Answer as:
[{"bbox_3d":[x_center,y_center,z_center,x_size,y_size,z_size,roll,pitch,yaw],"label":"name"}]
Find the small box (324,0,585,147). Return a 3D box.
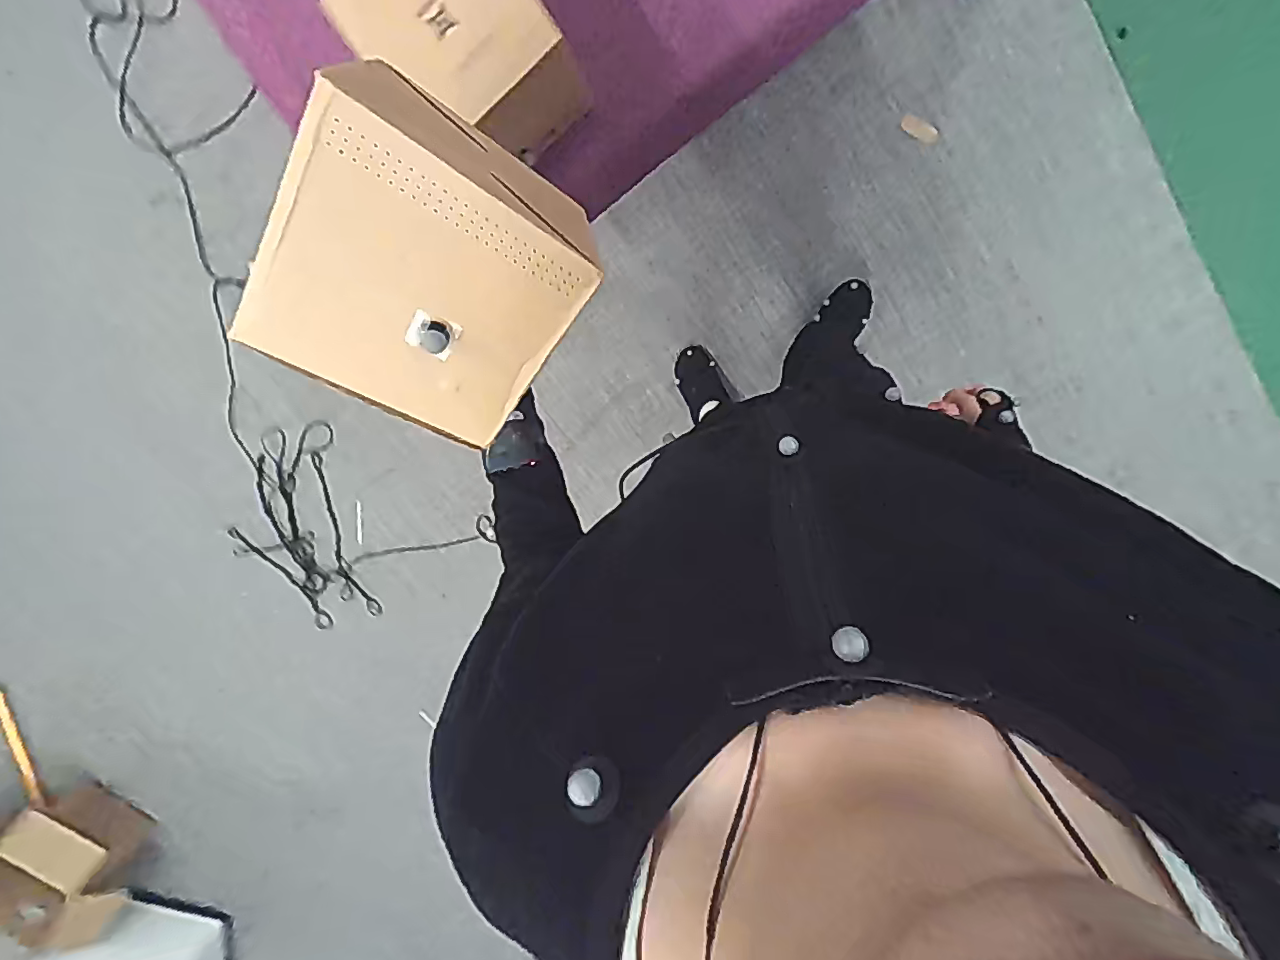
[{"bbox_3d":[-0.183,-0.460,0.575,0.168,0.176,0.179,-34,101,14],"label":"small box"}]

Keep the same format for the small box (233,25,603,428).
[{"bbox_3d":[-0.146,-0.175,0.391,0.179,0.168,0.176,25,120,-30],"label":"small box"}]

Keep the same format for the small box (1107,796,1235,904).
[{"bbox_3d":[1.556,1.085,1.598,0.168,0.176,0.179,40,108,-6],"label":"small box"}]
